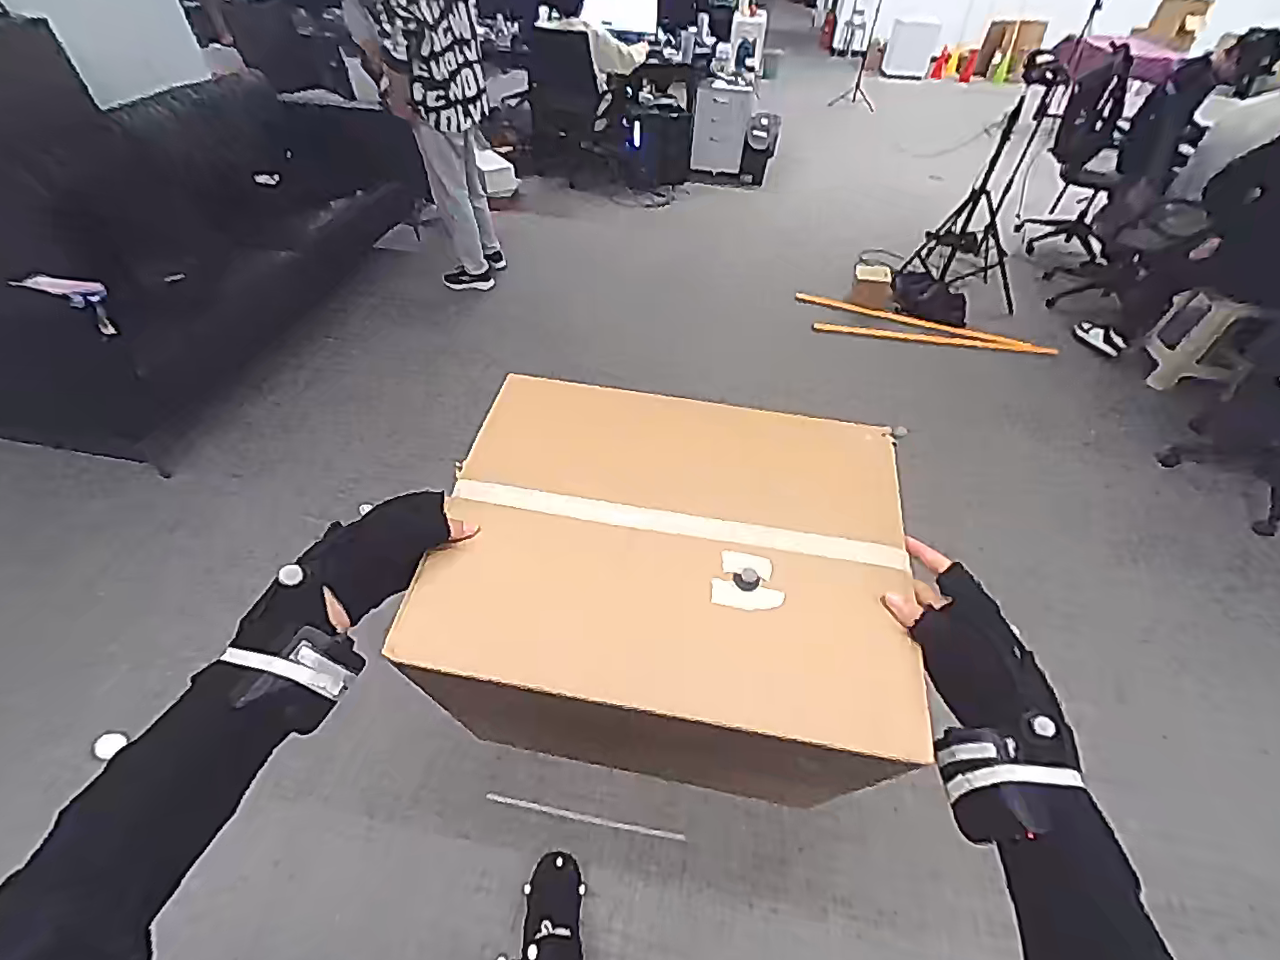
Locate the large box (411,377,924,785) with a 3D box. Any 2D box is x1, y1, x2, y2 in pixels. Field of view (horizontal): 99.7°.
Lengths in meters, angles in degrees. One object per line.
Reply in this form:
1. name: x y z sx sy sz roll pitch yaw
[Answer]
1. large box: 0.031 0.122 0.614 0.408 0.320 0.320 9 55 4
